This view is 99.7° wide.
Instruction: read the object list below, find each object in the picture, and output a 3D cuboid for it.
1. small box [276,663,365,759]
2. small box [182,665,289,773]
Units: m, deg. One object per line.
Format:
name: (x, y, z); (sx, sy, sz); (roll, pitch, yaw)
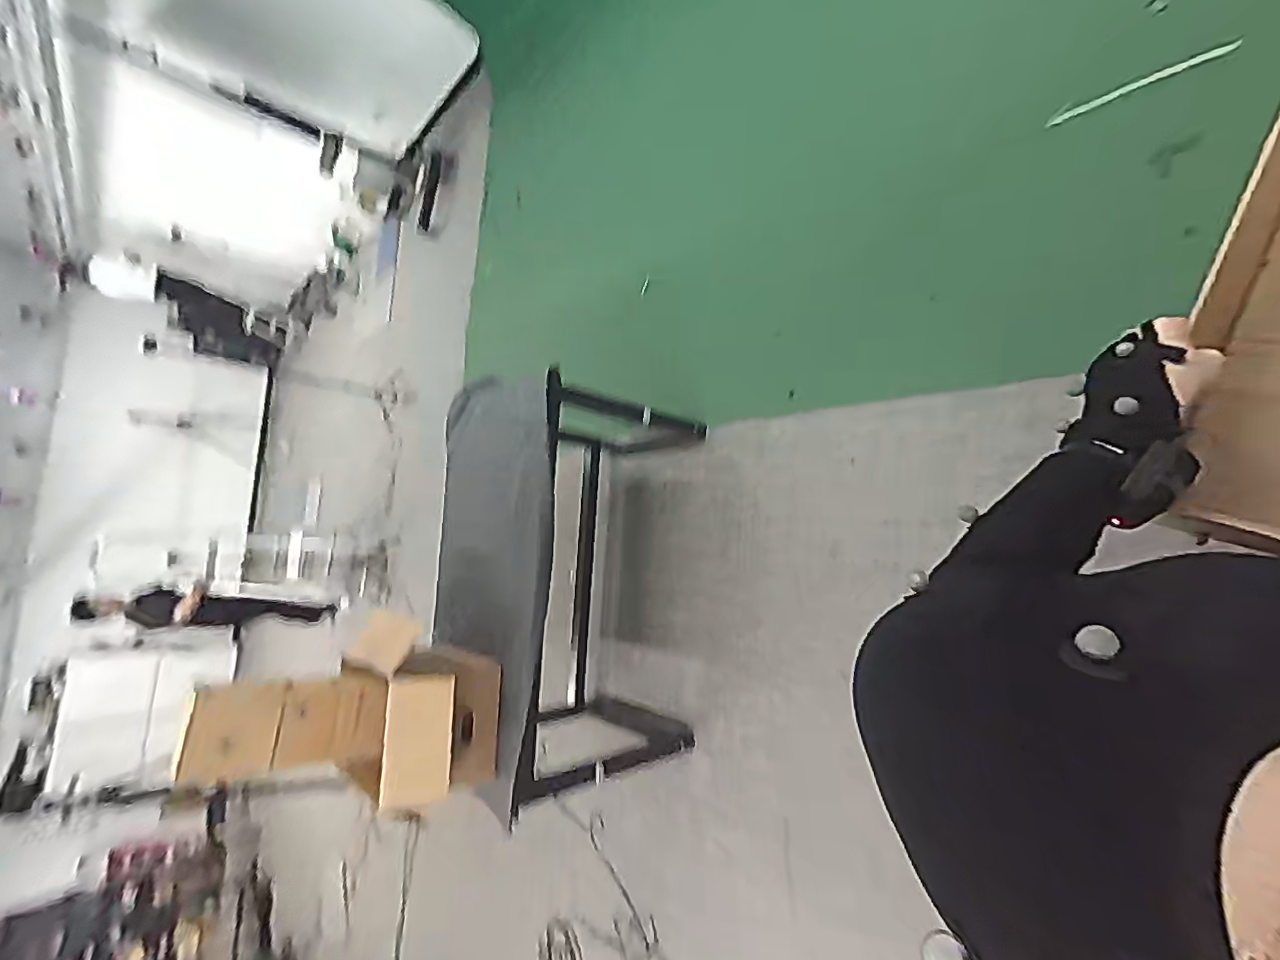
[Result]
small box: (-0.803, 0.564, 1.347); (0.168, 0.176, 0.179); (-3, 78, 47)
small box: (-0.925, 0.536, 1.241); (0.168, 0.176, 0.179); (-1, 80, 48)
